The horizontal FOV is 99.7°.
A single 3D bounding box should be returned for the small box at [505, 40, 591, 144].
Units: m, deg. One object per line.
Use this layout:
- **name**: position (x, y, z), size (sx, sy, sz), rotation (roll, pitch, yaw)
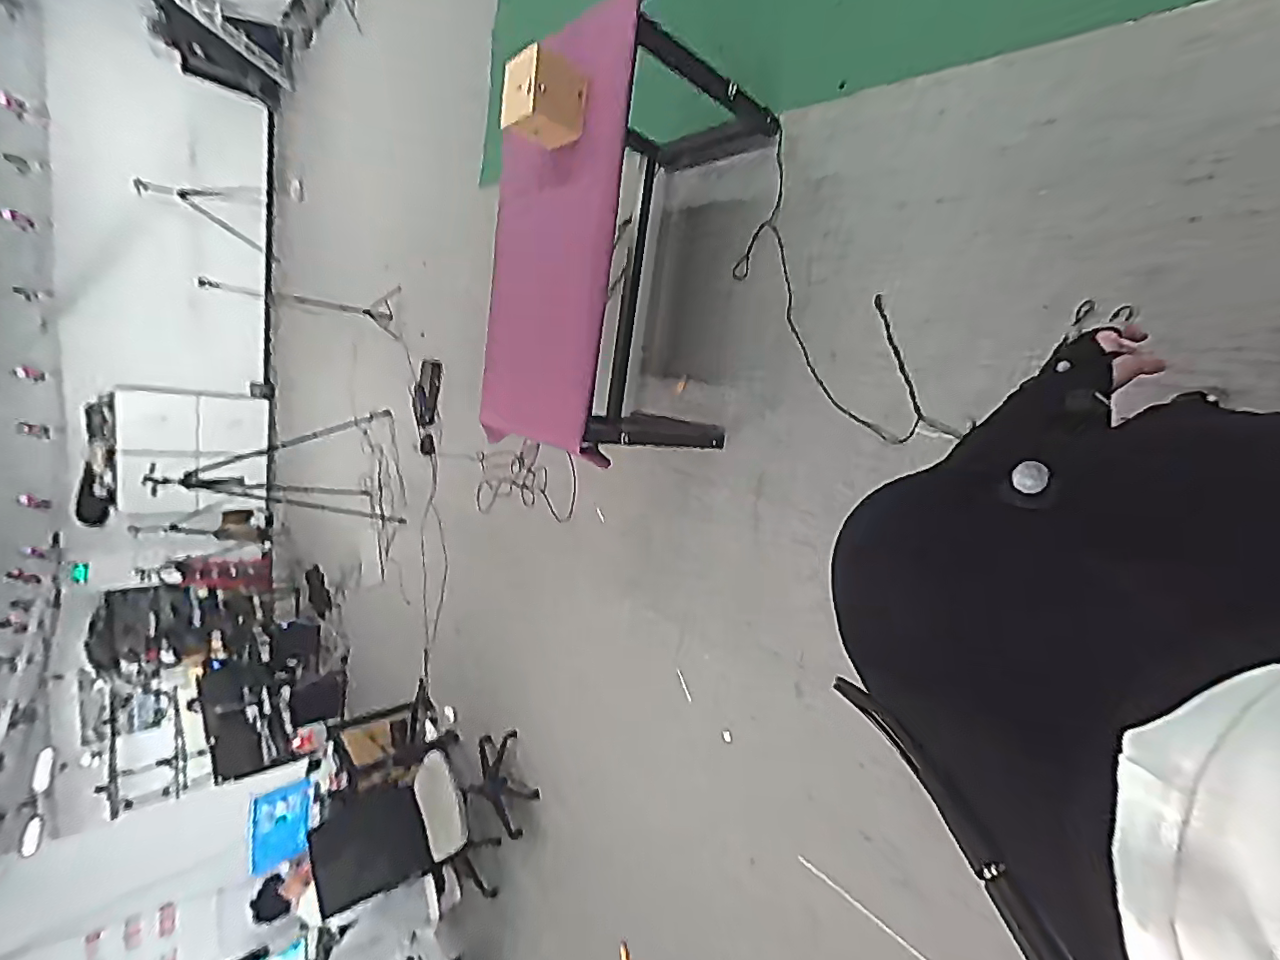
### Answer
- **small box**: position (-0.260, -1.078, 1.523), size (0.179, 0.176, 0.168), rotation (19, 106, 47)
